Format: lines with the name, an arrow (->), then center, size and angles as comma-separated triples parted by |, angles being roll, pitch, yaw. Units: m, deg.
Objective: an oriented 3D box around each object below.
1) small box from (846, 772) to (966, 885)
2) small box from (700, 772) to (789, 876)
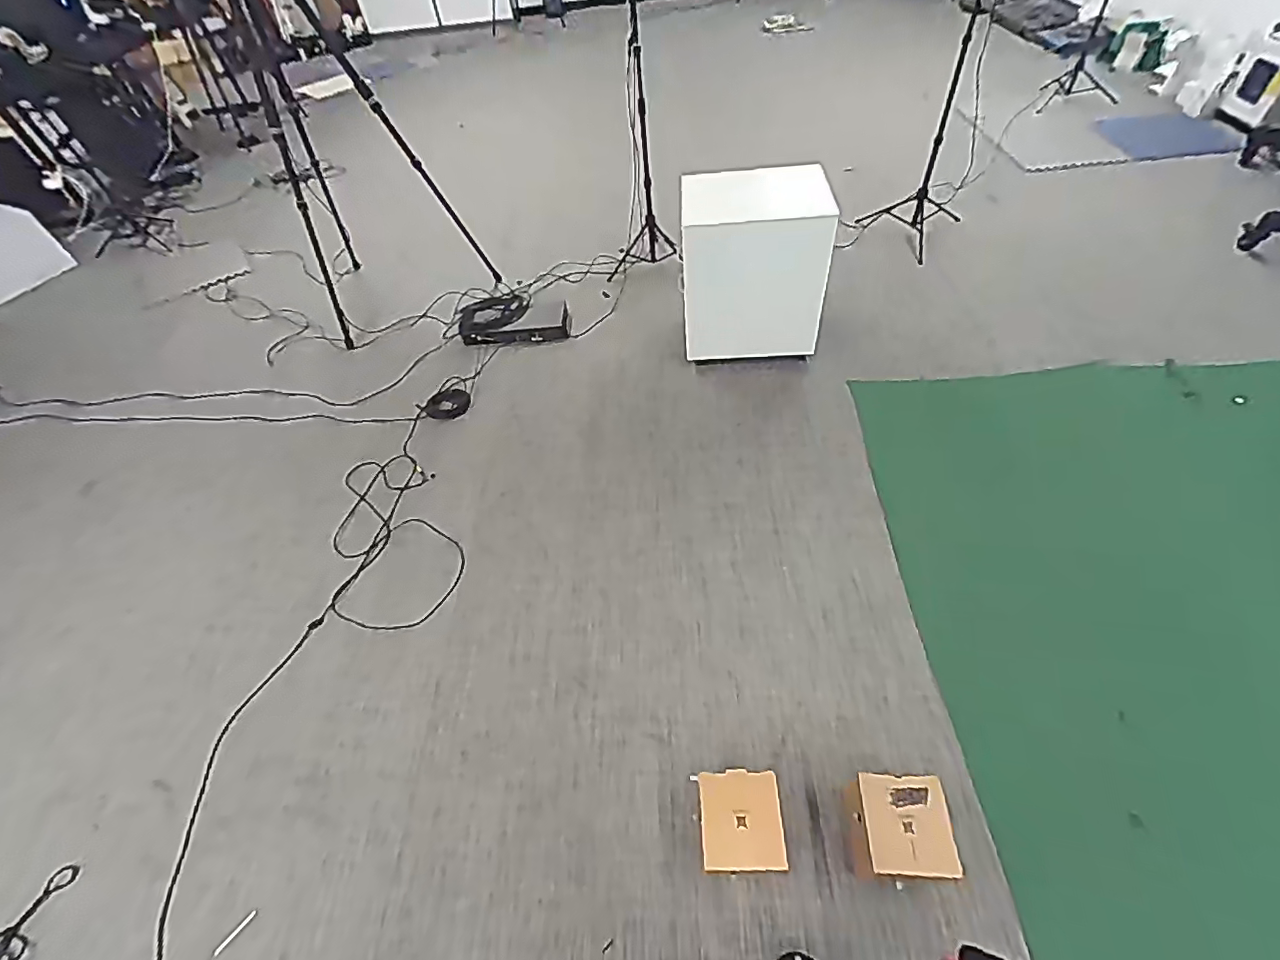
small box -> 0.543, 0.730, 1.133 | 0.168, 0.176, 0.179 | -1, 52, 7
small box -> 0.218, 0.743, 1.163 | 0.168, 0.176, 0.179 | -4, 50, 4
